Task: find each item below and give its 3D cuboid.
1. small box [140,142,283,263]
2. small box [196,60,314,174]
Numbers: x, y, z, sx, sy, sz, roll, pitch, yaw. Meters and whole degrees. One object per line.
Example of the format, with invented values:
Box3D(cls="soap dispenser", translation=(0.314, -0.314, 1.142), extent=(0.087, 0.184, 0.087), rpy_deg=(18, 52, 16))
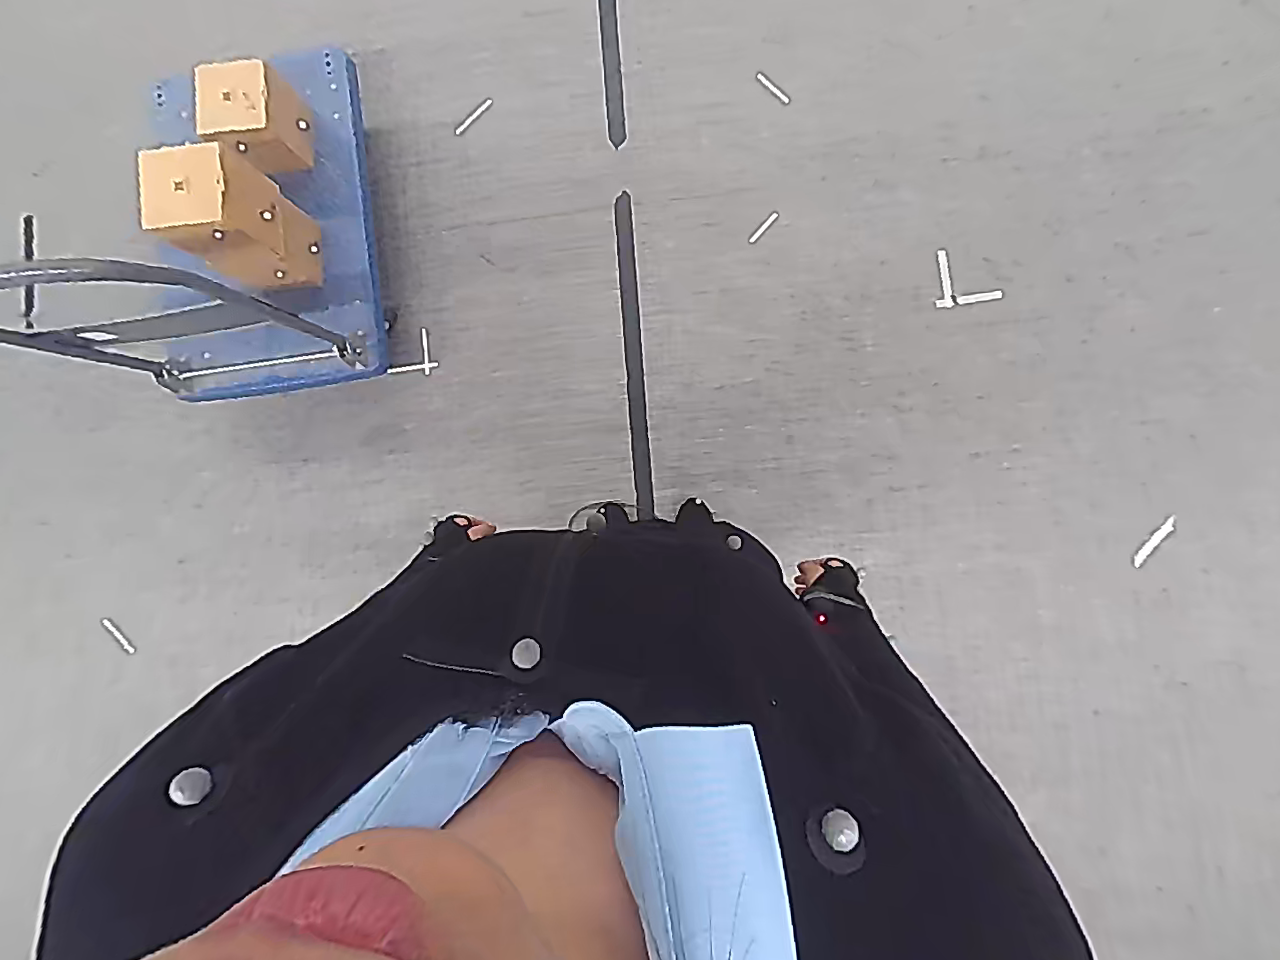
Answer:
Box3D(cls="small box", translation=(-0.909, -0.582, 1.157), extent=(0.179, 0.176, 0.168), rpy_deg=(-5, 88, 3))
Box3D(cls="small box", translation=(-0.942, -0.882, 1.331), extent=(0.179, 0.176, 0.168), rpy_deg=(-3, 89, 4))
